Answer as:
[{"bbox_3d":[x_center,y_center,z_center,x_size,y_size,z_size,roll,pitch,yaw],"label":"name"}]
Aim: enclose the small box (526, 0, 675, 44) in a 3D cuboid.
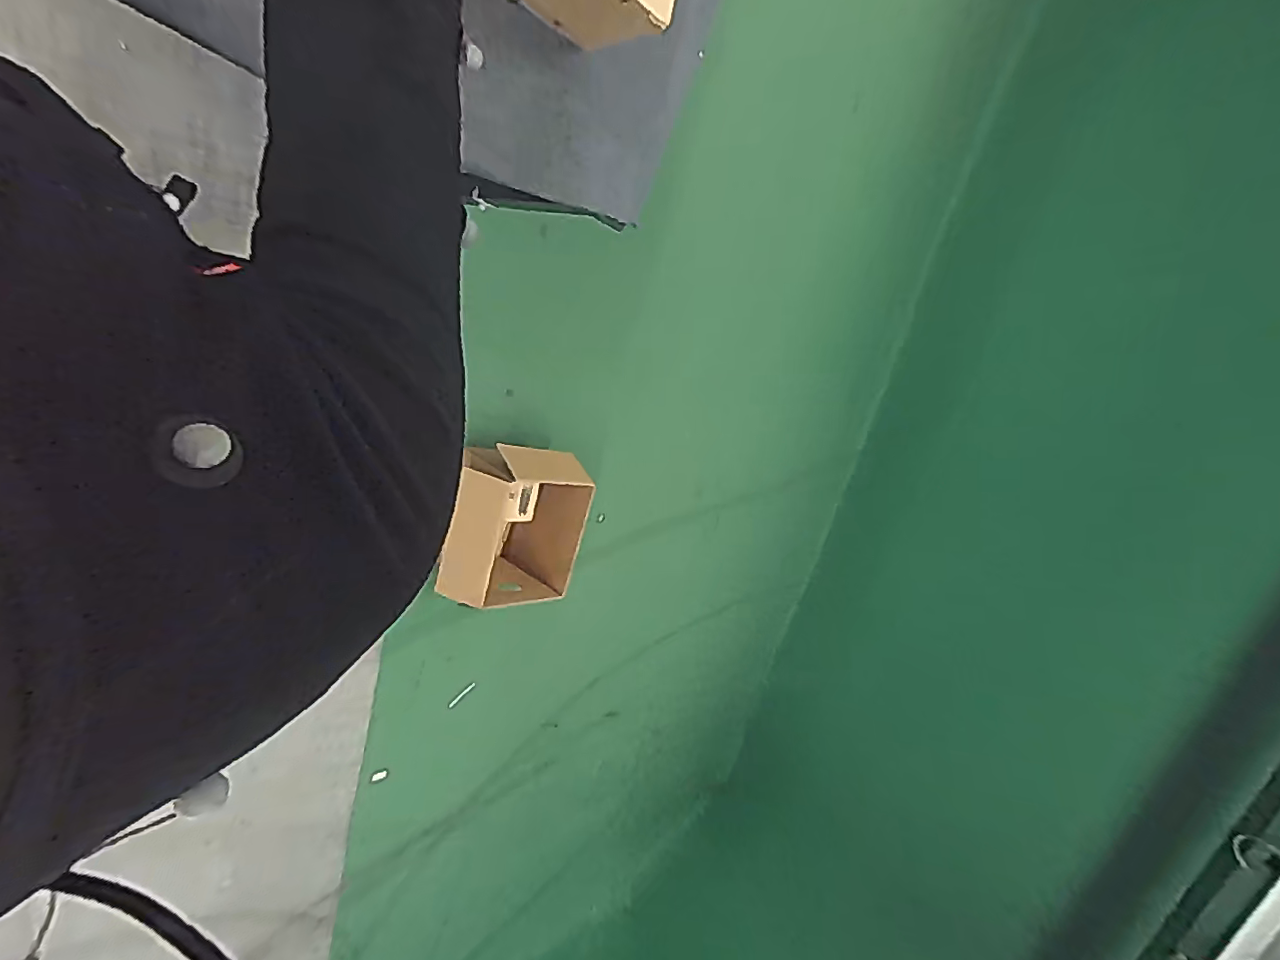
[{"bbox_3d":[-0.057,-0.643,0.615,0.168,0.176,0.179,-2,112,-46],"label":"small box"}]
